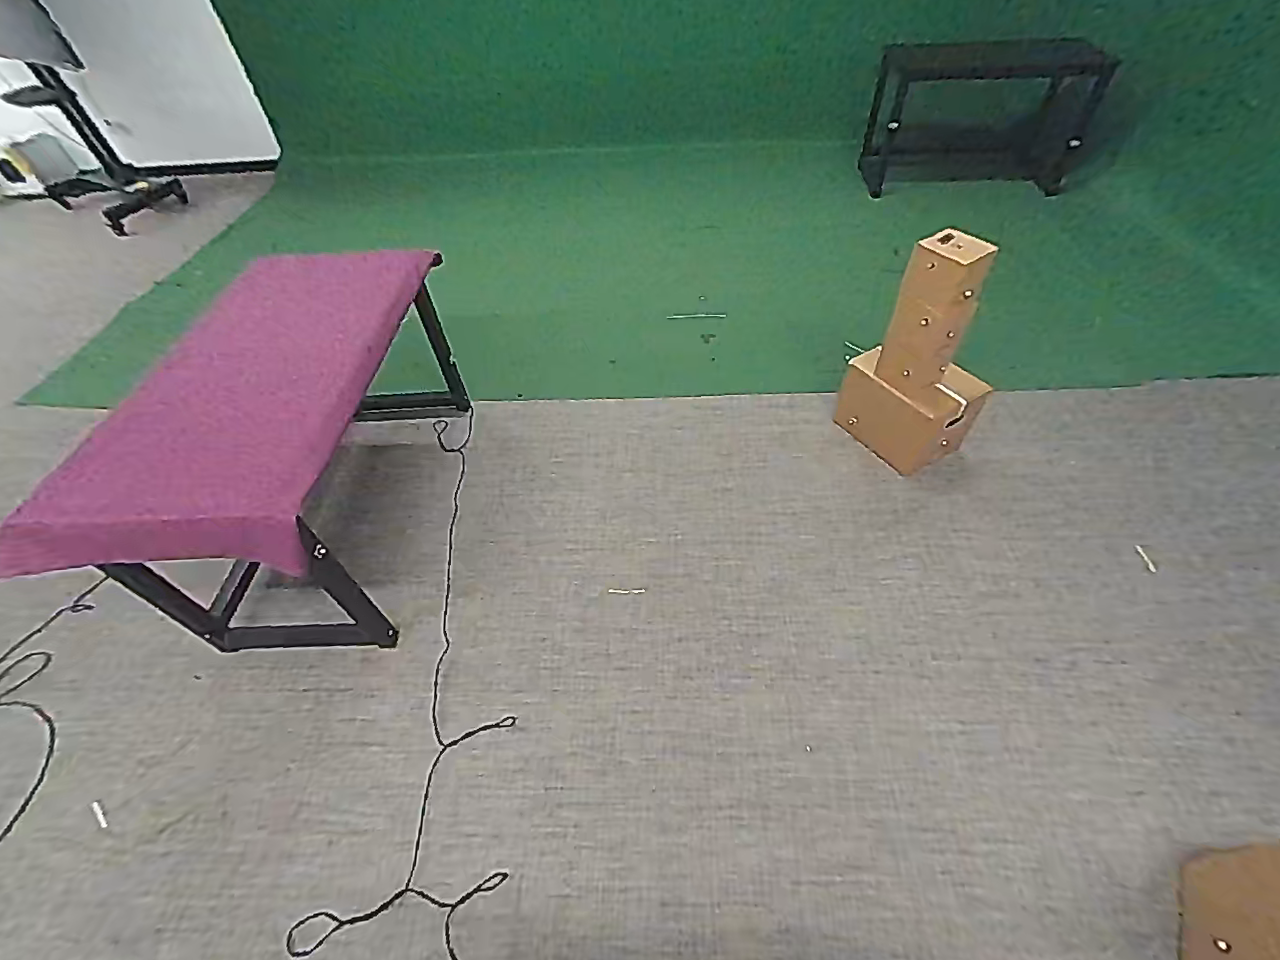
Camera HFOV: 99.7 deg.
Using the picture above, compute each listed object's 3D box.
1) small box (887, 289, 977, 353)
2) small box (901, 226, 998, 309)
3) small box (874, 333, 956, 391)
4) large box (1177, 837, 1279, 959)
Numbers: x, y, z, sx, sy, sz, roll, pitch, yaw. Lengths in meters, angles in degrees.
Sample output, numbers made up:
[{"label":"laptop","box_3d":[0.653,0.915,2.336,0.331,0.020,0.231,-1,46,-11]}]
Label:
[{"label":"small box","box_3d":[0.970,-0.545,1.813,0.168,0.176,0.179,-23,52,-17]},{"label":"small box","box_3d":[0.962,-0.665,1.701,0.168,0.176,0.179,-28,54,-20]},{"label":"small box","box_3d":[0.978,-0.438,1.938,0.168,0.176,0.179,-25,52,-17]},{"label":"large box","box_3d":[1.301,0.991,1.017,0.320,0.320,0.408,25,54,22]}]
